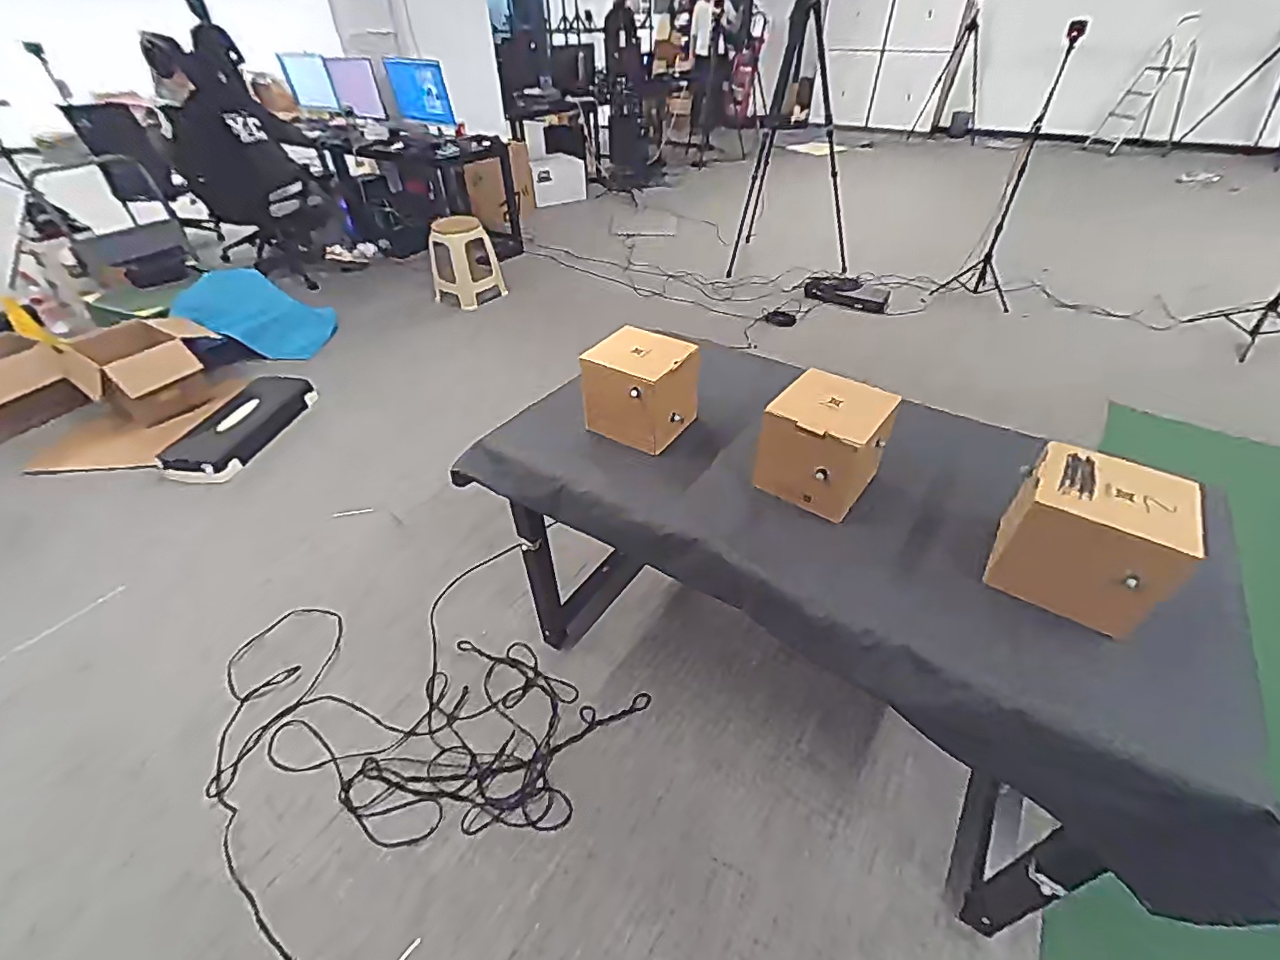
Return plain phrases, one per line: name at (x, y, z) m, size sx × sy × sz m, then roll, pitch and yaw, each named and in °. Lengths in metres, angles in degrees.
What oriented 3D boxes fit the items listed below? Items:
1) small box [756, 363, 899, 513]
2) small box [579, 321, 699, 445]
small box at (0.314, -0.072, 0.934) m, size 0.168 × 0.176 × 0.179 m, roll 28°, pitch 48°, yaw 27°
small box at (-0.002, -0.193, 1.079) m, size 0.179 × 0.176 × 0.168 m, roll 23°, pitch 46°, yaw 24°
